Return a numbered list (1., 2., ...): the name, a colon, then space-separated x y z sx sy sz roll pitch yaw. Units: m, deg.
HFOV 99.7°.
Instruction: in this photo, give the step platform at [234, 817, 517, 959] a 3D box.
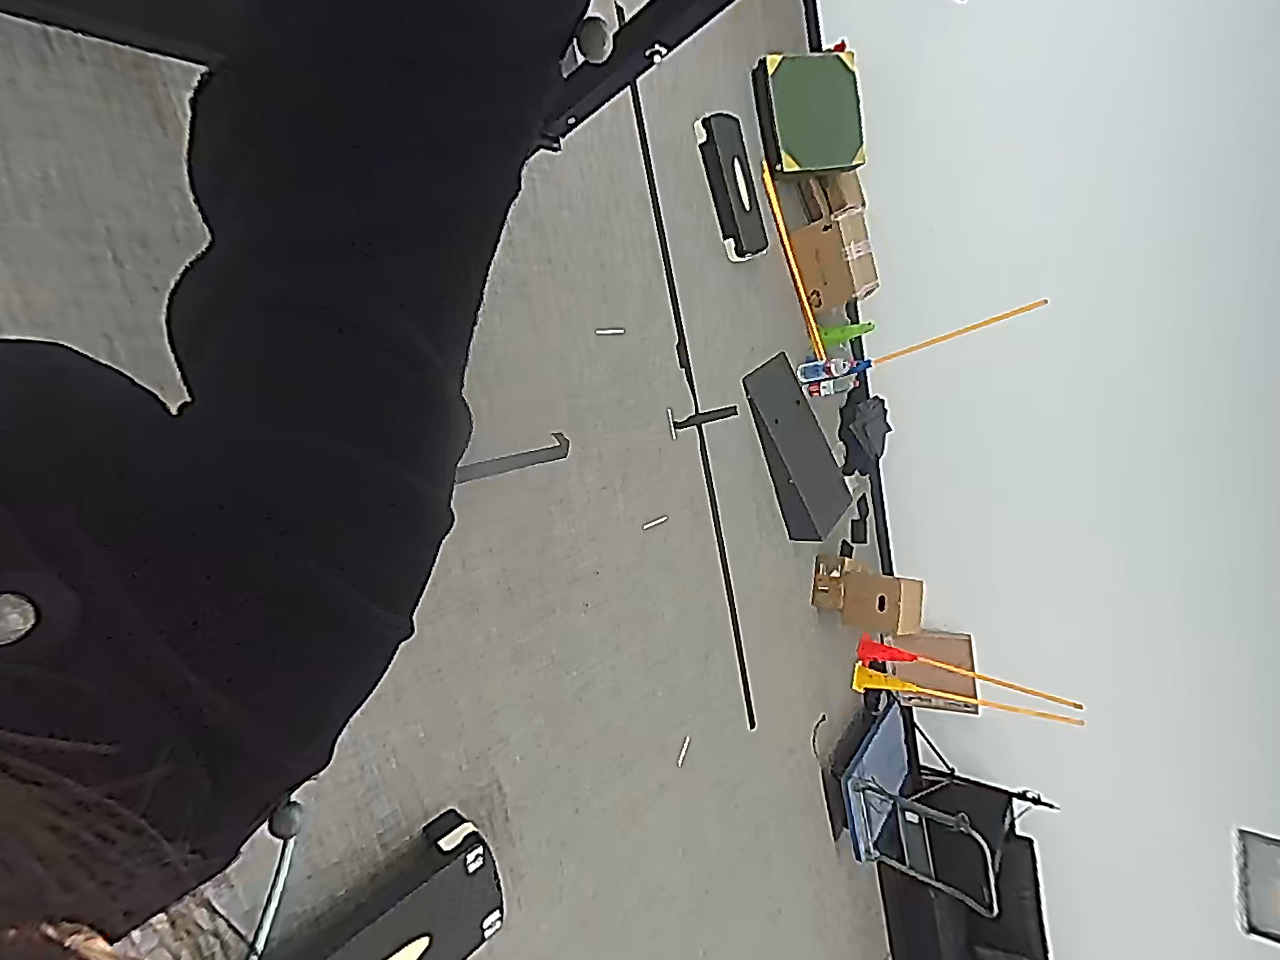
1. step platform: -0.635 1.160 1.323 0.684 0.204 0.286 -11 95 -47
